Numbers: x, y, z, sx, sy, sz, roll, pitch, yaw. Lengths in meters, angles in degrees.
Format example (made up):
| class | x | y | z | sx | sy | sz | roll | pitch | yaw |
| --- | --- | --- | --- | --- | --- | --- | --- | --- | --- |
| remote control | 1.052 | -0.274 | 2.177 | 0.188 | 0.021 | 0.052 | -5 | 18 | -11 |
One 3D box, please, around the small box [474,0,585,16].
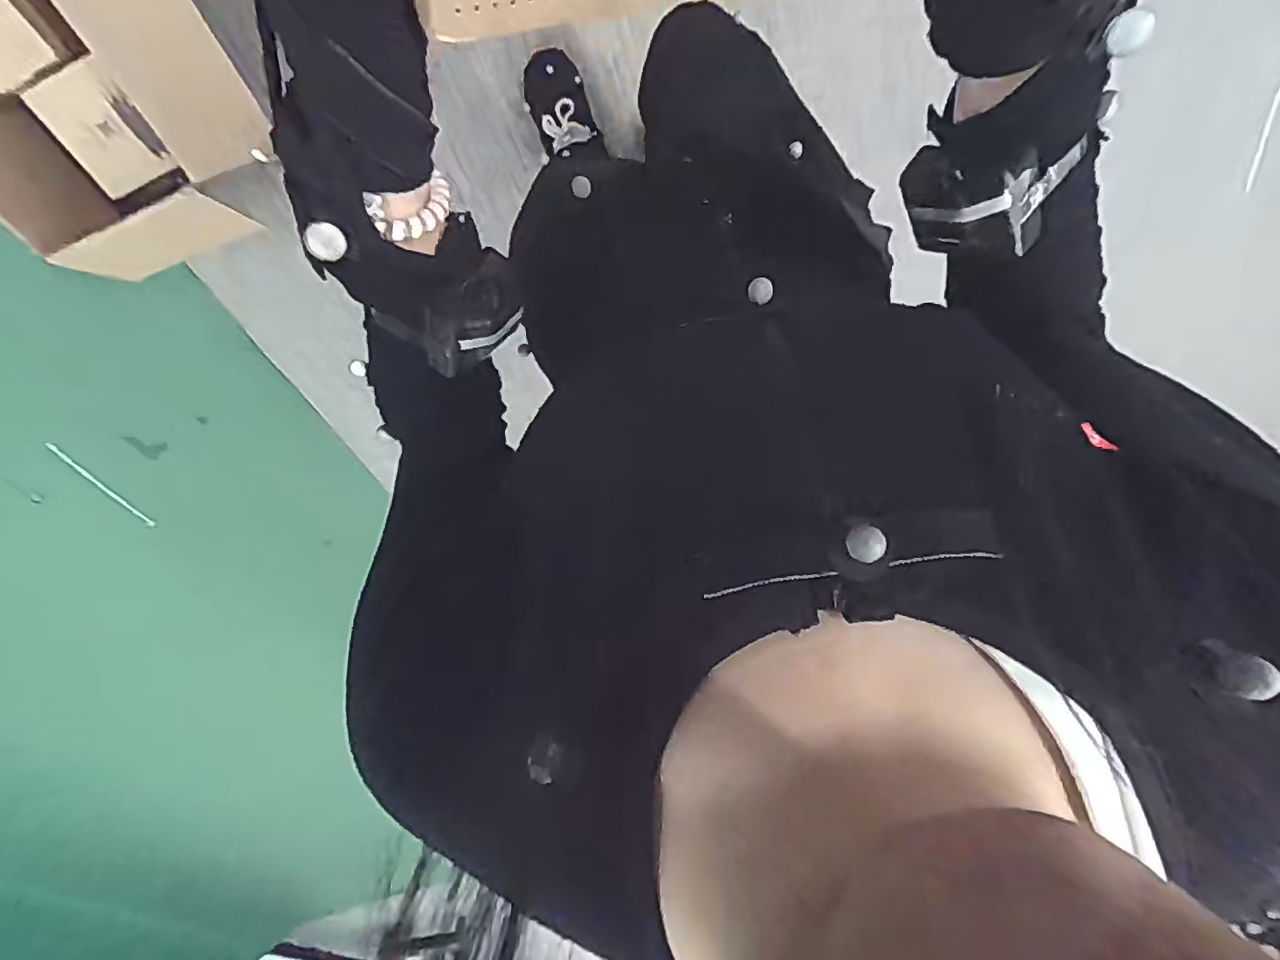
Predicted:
| class | x | y | z | sx | sy | sz | roll | pitch | yaw |
| --- | --- | --- | --- | --- | --- | --- | --- | --- | --- |
| small box | -0.007 | -0.264 | 0.118 | 0.168 | 0.176 | 0.179 | -27 | 97 | -18 |
